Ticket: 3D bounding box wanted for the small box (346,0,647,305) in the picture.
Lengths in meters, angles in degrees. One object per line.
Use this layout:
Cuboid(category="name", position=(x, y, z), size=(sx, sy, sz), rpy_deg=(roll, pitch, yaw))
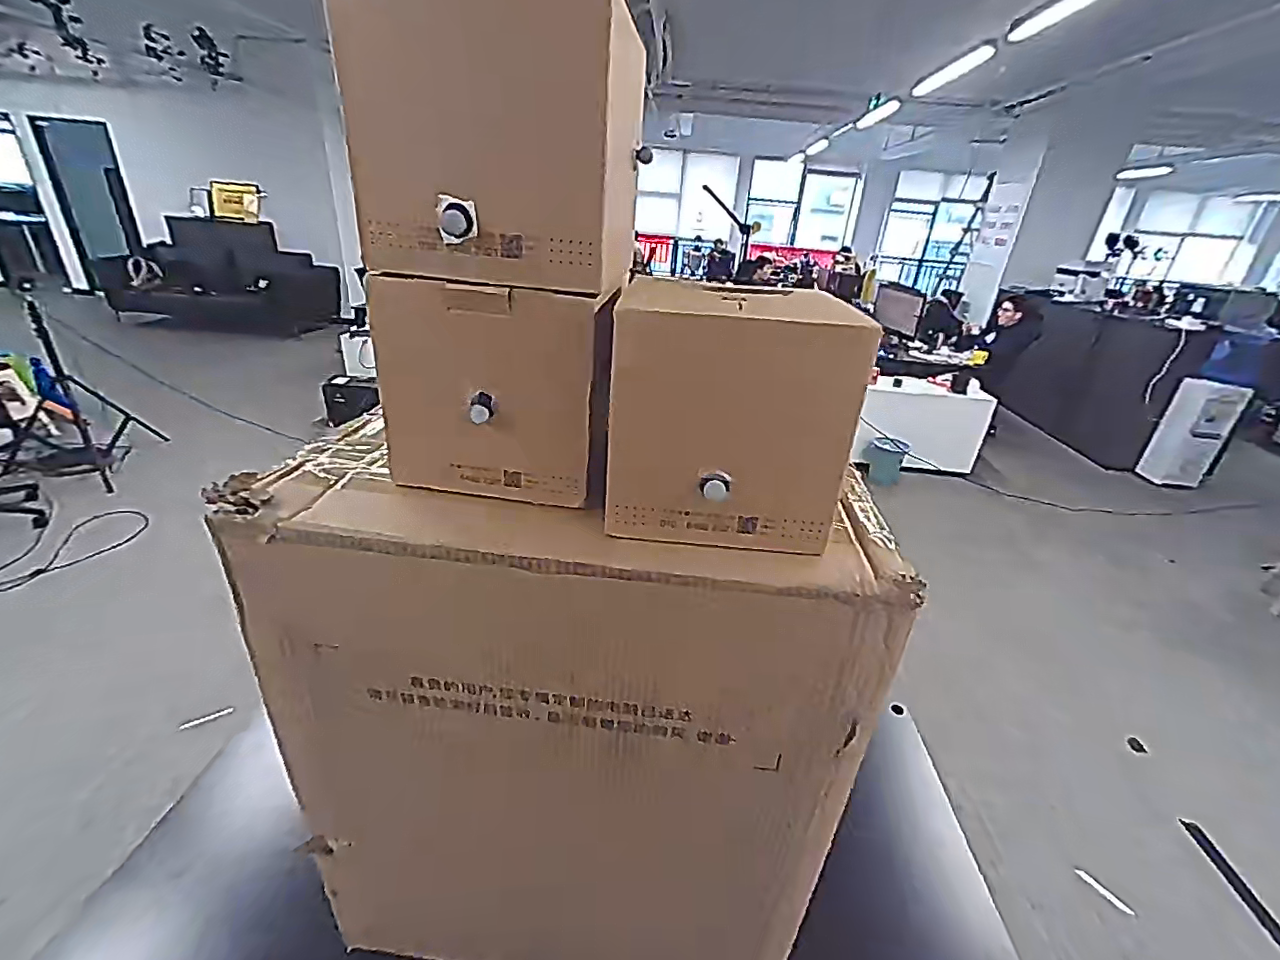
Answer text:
Cuboid(category="small box", position=(-0.089, -0.240, 0.410), size=(0.168, 0.176, 0.179), rpy_deg=(5, 28, 3))
